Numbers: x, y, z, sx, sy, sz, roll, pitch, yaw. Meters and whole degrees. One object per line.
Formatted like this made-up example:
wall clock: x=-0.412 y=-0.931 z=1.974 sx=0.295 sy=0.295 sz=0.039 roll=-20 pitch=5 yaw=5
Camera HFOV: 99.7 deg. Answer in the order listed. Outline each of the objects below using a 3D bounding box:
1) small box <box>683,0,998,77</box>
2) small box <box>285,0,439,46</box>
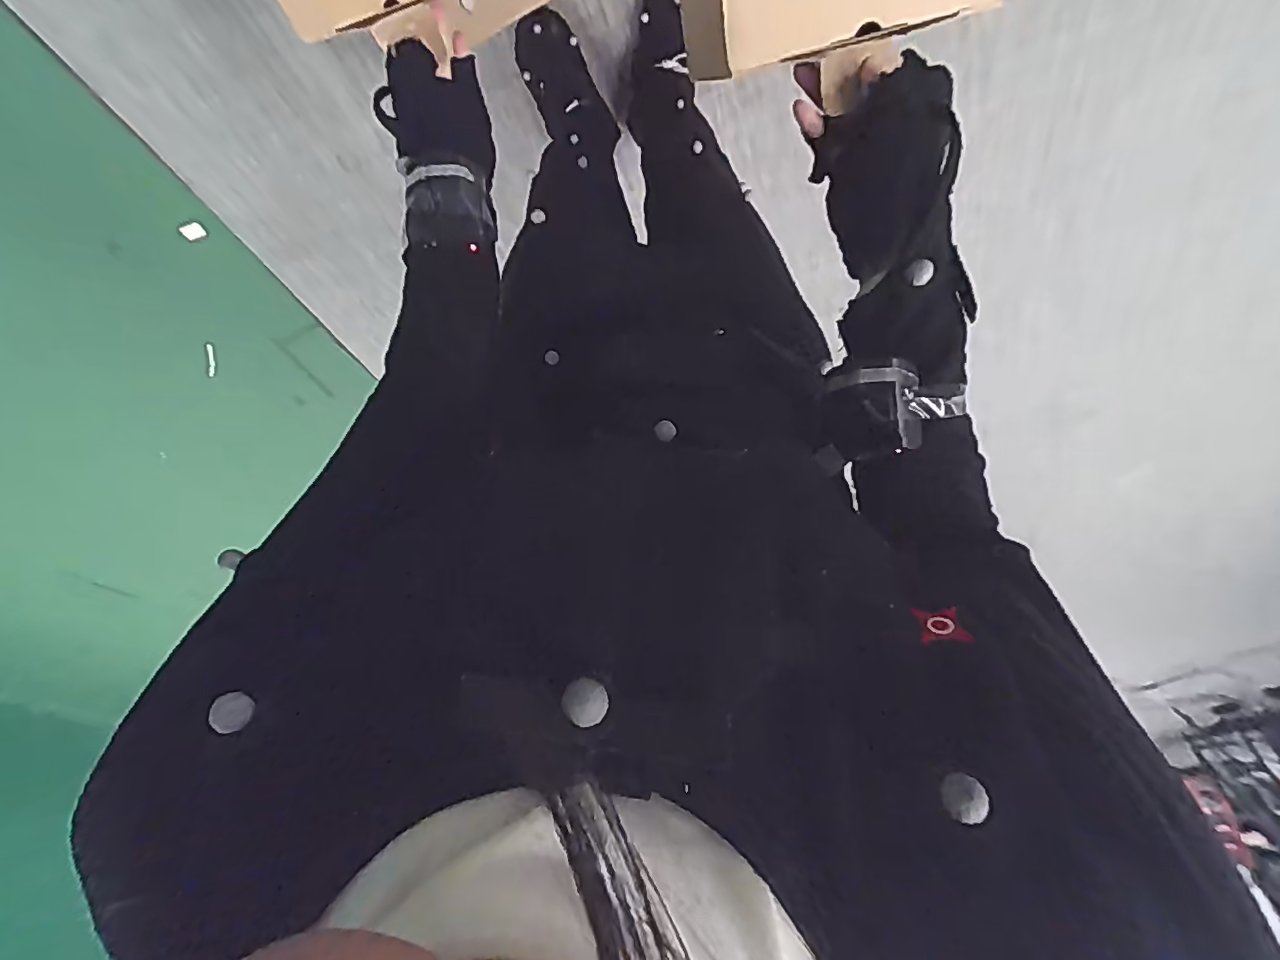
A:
small box: x=0.110 y=-0.376 z=0.333 sx=0.168 sy=0.176 sz=0.179 roll=-13 pitch=126 yaw=5
small box: x=-0.205 y=-0.475 z=0.410 sx=0.168 sy=0.176 sz=0.179 roll=-11 pitch=134 yaw=12
